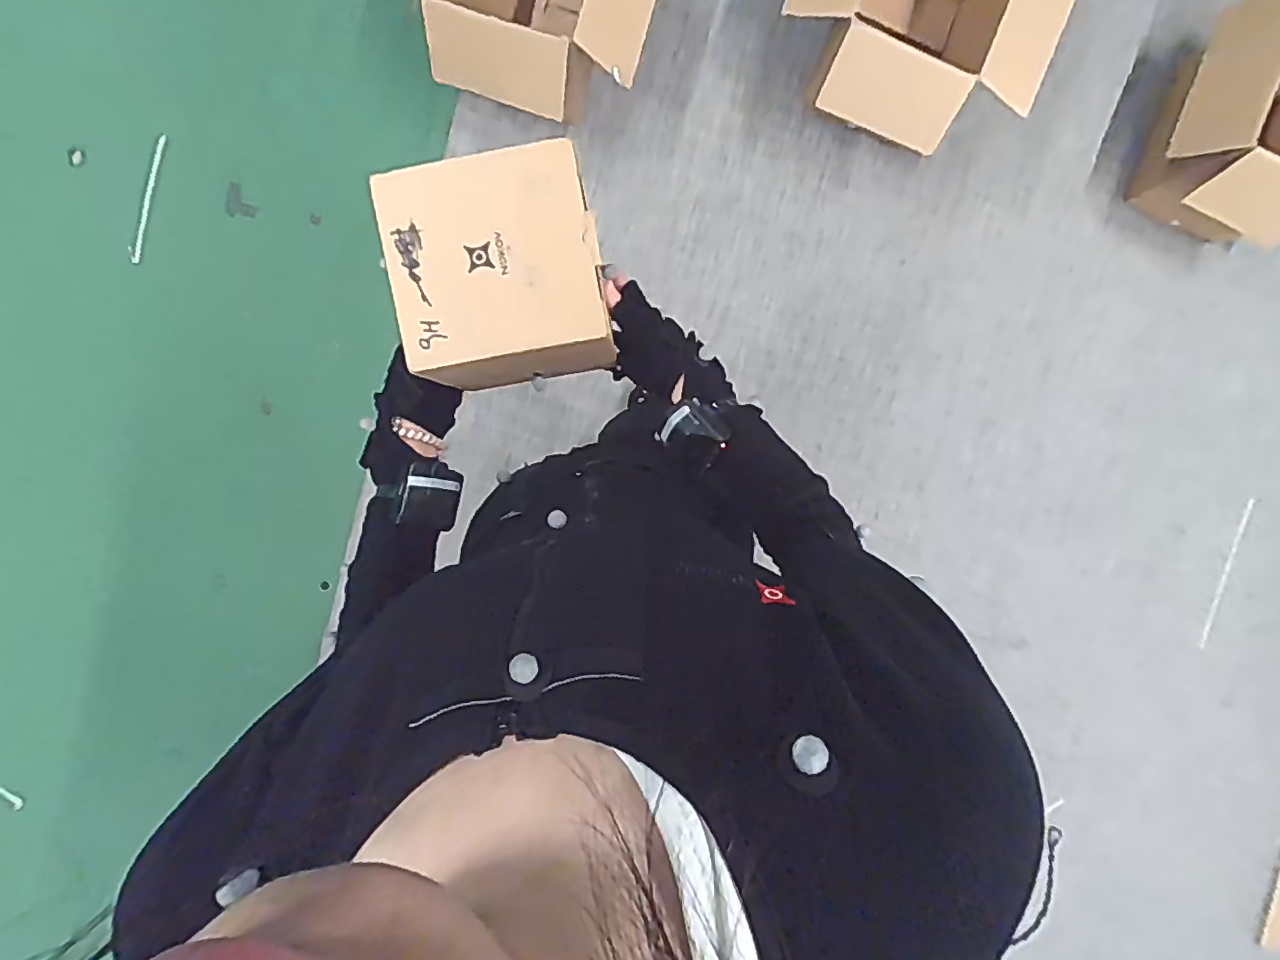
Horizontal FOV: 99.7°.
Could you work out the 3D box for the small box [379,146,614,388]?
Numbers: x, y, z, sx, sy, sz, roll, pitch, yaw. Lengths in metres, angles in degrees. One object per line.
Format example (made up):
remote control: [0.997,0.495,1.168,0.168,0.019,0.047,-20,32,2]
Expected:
small box: [-0.123,-0.193,0.537,0.179,0.176,0.168,-10,93,0]
